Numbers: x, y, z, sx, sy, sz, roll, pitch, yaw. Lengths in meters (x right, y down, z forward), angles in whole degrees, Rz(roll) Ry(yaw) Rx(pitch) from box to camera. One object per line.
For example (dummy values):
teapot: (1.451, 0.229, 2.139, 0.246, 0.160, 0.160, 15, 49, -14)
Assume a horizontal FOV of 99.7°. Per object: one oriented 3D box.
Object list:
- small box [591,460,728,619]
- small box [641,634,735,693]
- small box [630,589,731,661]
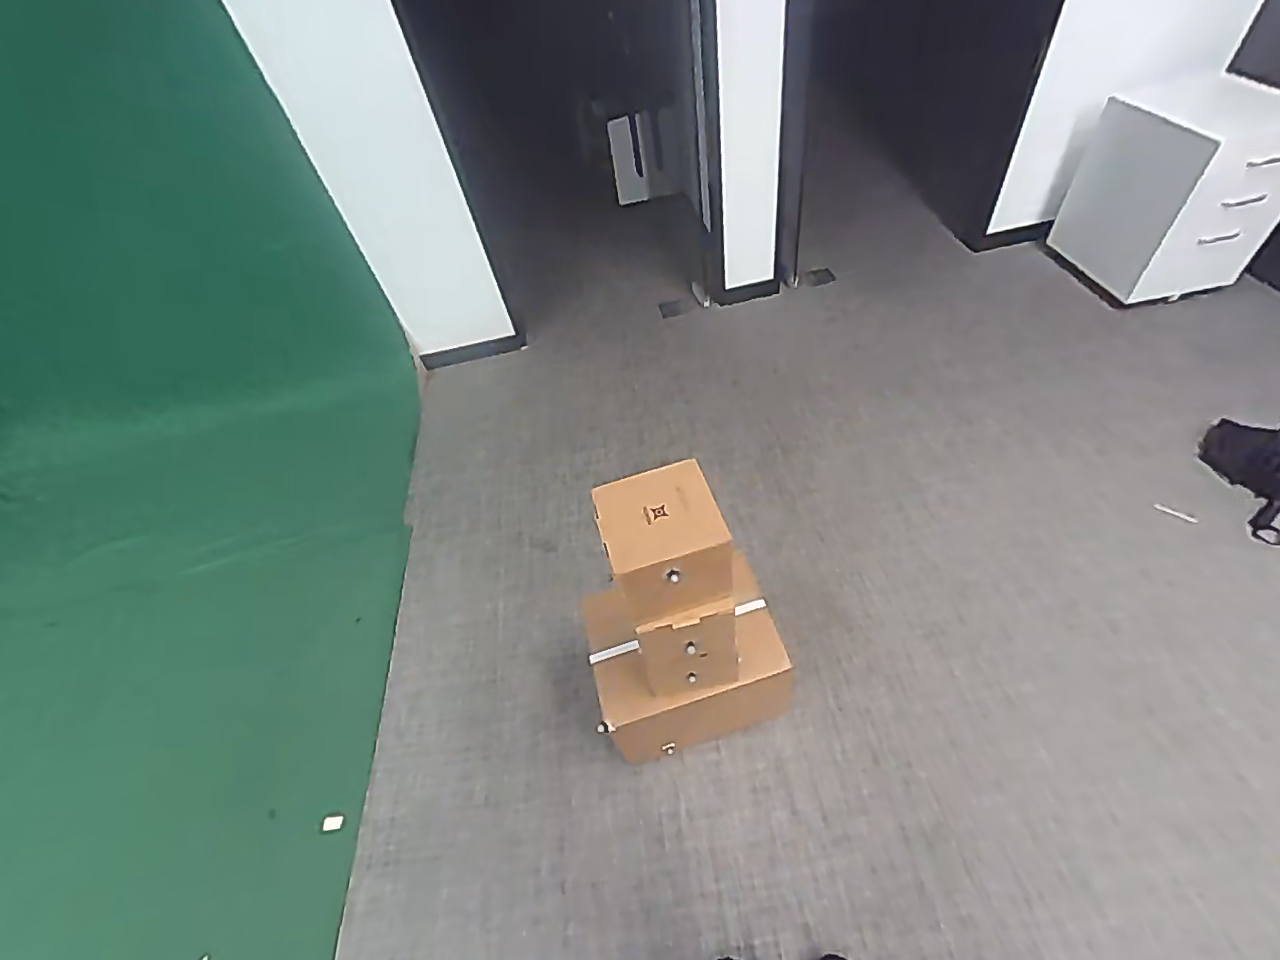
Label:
small box: (0.034, 0.100, 0.872, 0.179, 0.176, 0.168, -16, 50, -4)
small box: (0.090, 0.317, 1.109, 0.179, 0.176, 0.168, -13, 49, 1)
small box: (0.066, 0.213, 0.986, 0.168, 0.176, 0.179, -12, 50, 0)
